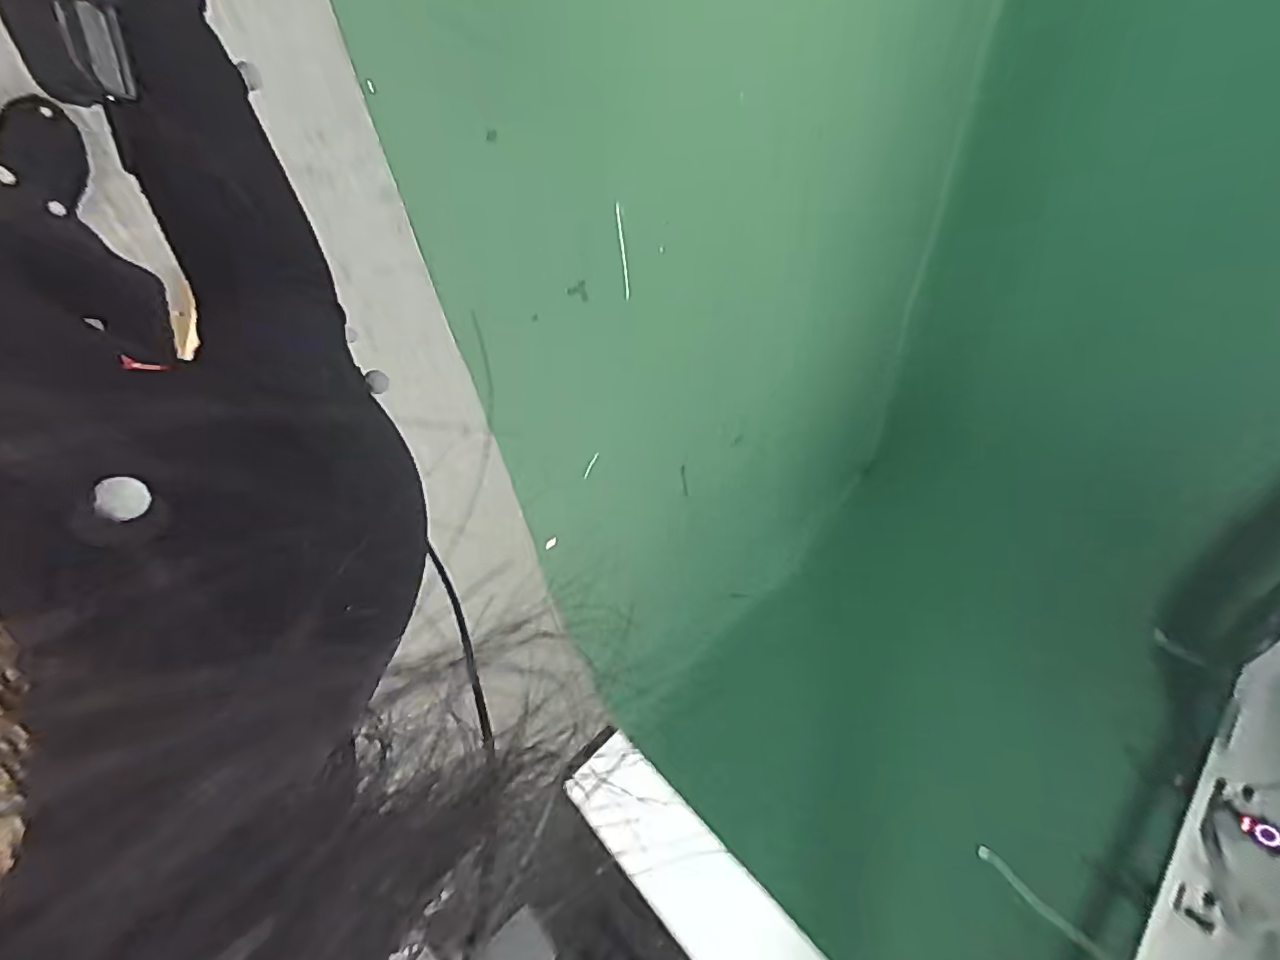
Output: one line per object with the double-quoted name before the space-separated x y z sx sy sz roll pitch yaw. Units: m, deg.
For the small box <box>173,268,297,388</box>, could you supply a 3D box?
"small box" -0.847 -0.315 1.126 0.168 0.176 0.179 4 114 -50
